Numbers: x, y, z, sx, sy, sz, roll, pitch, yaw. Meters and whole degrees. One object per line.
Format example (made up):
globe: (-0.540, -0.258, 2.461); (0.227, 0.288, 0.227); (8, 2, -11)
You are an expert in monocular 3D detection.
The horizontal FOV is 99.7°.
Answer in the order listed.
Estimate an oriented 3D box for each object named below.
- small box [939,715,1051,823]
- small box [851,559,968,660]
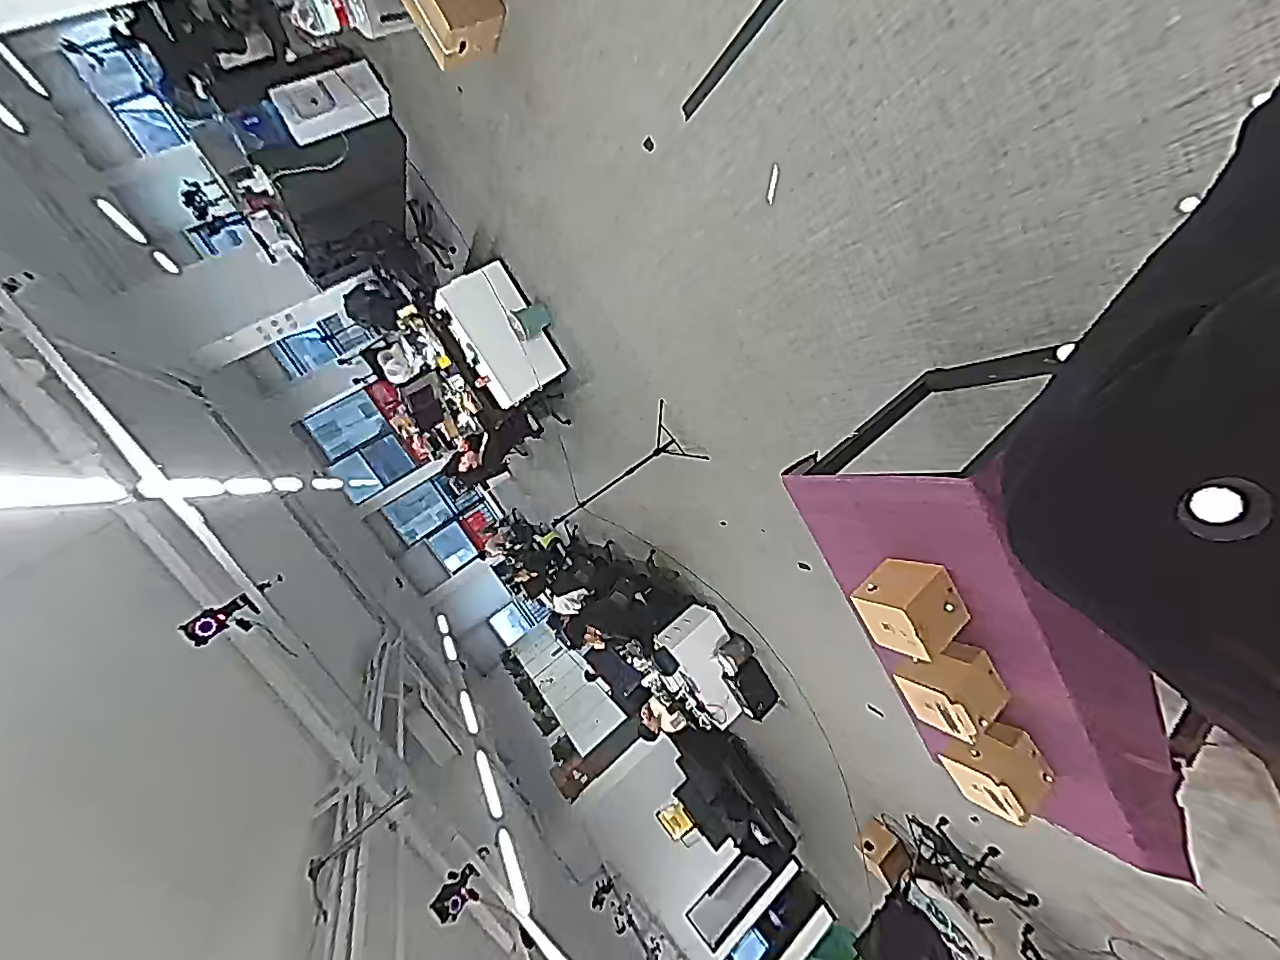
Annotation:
small box: (0.979, 0.780, 1.484); (0.168, 0.176, 0.179); (55, 161, -4)
small box: (0.685, 0.319, 1.377); (0.168, 0.176, 0.179); (57, 160, -12)
